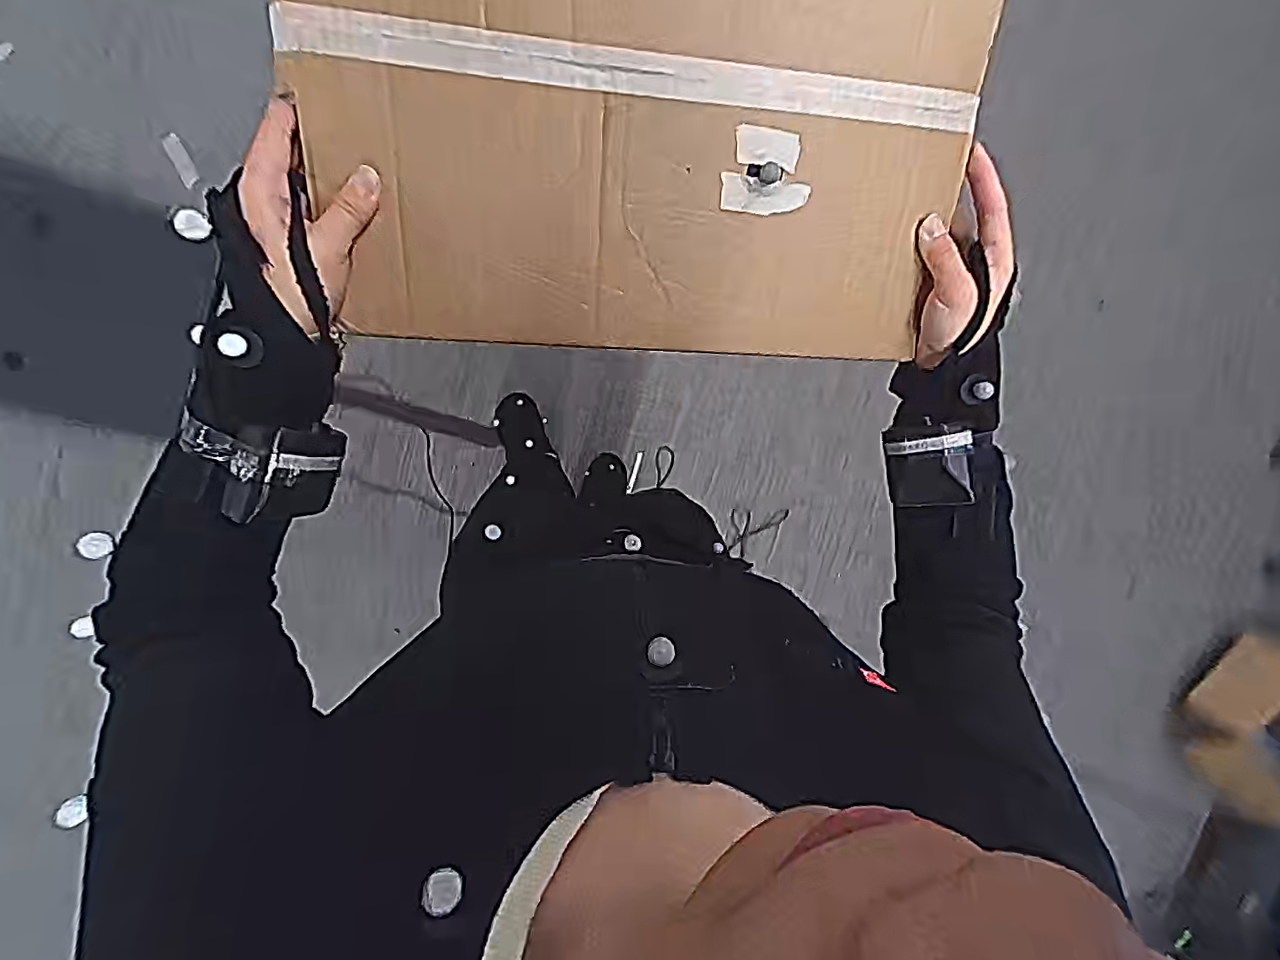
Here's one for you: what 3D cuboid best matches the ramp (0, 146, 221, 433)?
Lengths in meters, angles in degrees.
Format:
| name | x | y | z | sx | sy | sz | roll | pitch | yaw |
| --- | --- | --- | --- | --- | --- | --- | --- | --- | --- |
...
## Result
| name | x | y | z | sx | sy | sz | roll | pitch | yaw |
| --- | --- | --- | --- | --- | --- | --- | --- | --- | --- |
| ramp | -1.449 | -0.462 | 1.052 | 0.991 | 0.206 | 0.509 | 15 | 93 | -10 |
